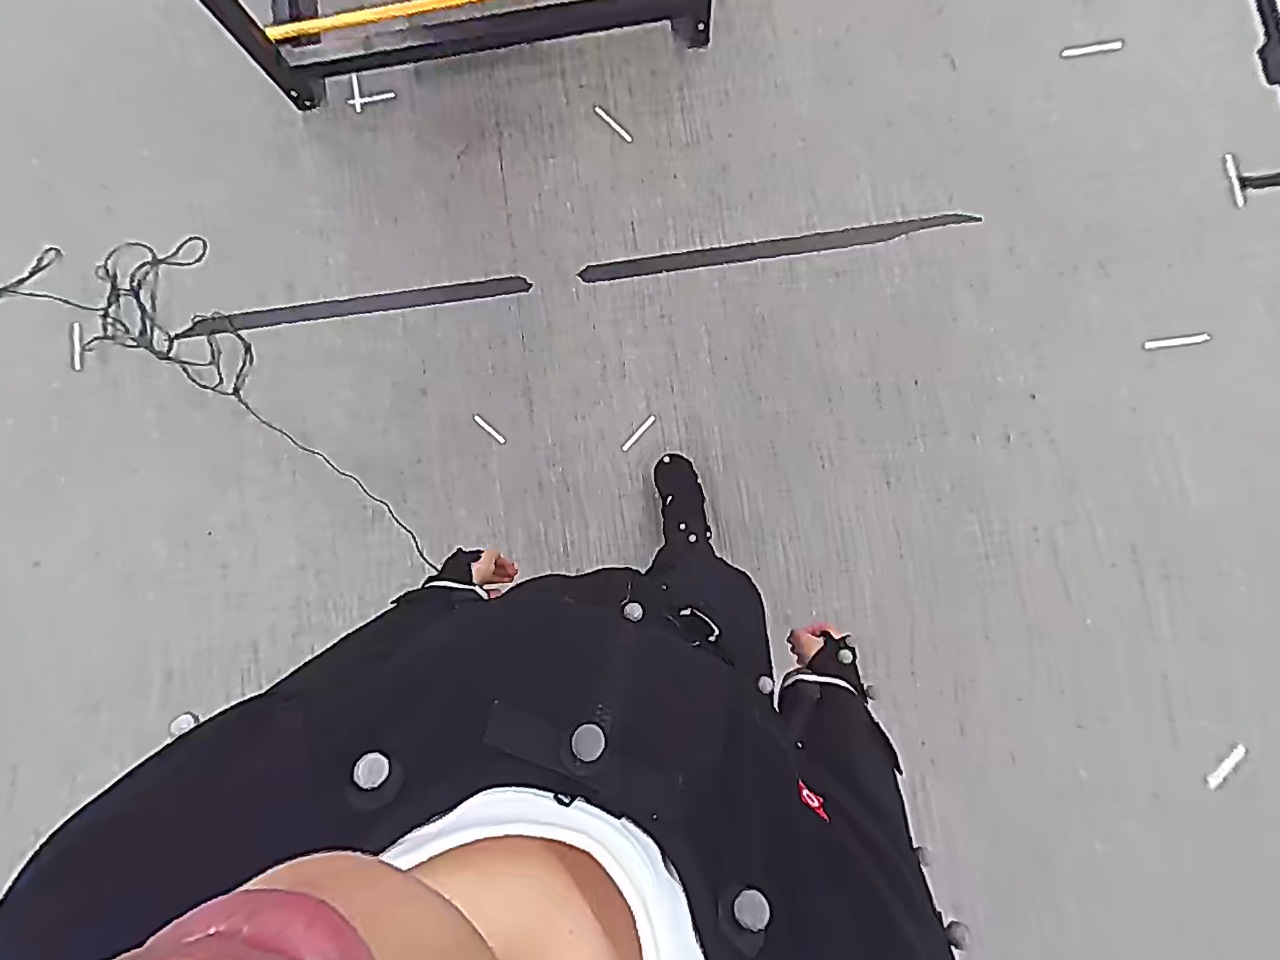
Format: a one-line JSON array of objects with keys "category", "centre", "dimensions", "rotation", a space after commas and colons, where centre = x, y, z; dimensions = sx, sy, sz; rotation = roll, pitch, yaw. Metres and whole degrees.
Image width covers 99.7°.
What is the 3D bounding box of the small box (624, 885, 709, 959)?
[{"category": "small box", "centre": [0.065, 1.067, 1.232], "dimensions": [0.179, 0.176, 0.168], "rotation": [-7, 85, 2]}]
